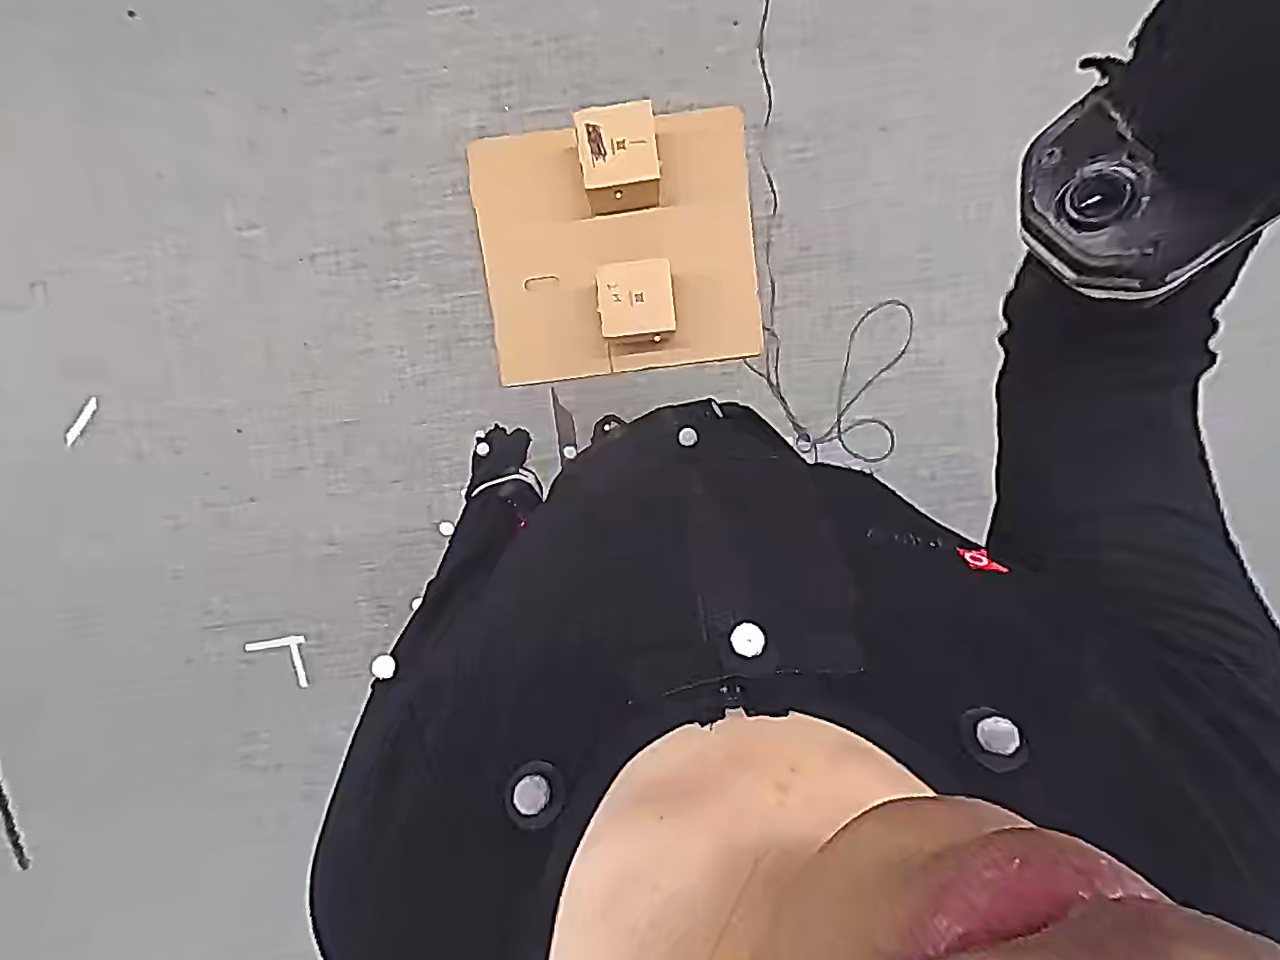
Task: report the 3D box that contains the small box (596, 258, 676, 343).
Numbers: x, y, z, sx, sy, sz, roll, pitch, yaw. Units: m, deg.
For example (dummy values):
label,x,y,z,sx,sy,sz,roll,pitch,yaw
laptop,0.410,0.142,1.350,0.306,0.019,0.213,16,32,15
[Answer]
label,x,y,z,sx,sy,sz,roll,pitch,yaw
small box,-0.007,-0.435,1.335,0.179,0.176,0.168,-5,98,3

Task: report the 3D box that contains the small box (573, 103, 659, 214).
label,x,y,z,sx,sy,sz,roll,pitch,yaw
small box,-0.051,-0.756,1.290,0.179,0.176,0.168,-8,98,2
